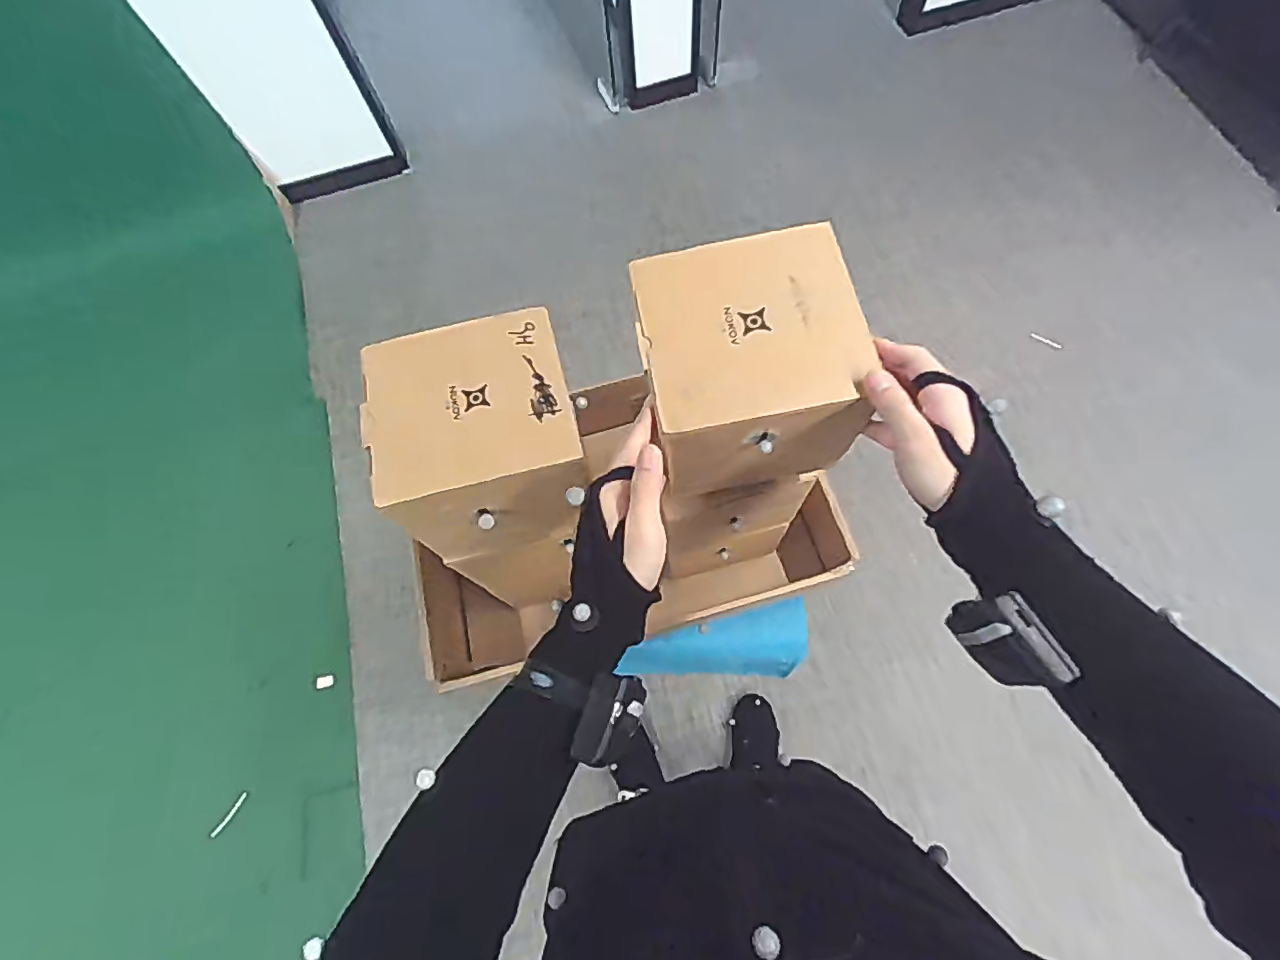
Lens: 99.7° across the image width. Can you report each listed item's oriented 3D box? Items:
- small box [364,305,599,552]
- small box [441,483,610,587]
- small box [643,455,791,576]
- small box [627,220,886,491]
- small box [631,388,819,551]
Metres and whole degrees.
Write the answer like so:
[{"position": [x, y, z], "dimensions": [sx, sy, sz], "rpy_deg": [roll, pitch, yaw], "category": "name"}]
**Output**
[{"position": [-0.148, -0.040, 0.542], "dimensions": [0.179, 0.176, 0.168], "rpy_deg": [-13, 67, -4], "category": "small box"}, {"position": [-0.145, 0.026, 0.690], "dimensions": [0.179, 0.176, 0.168], "rpy_deg": [-14, 67, -5], "category": "small box"}, {"position": [0.114, 0.038, 0.836], "dimensions": [0.179, 0.176, 0.168], "rpy_deg": [-15, 68, 0], "category": "small box"}, {"position": [0.093, -0.100, 0.501], "dimensions": [0.179, 0.176, 0.168], "rpy_deg": [-10, 69, 2], "category": "small box"}, {"position": [0.099, -0.025, 0.686], "dimensions": [0.179, 0.176, 0.168], "rpy_deg": [-17, 67, 0], "category": "small box"}]
